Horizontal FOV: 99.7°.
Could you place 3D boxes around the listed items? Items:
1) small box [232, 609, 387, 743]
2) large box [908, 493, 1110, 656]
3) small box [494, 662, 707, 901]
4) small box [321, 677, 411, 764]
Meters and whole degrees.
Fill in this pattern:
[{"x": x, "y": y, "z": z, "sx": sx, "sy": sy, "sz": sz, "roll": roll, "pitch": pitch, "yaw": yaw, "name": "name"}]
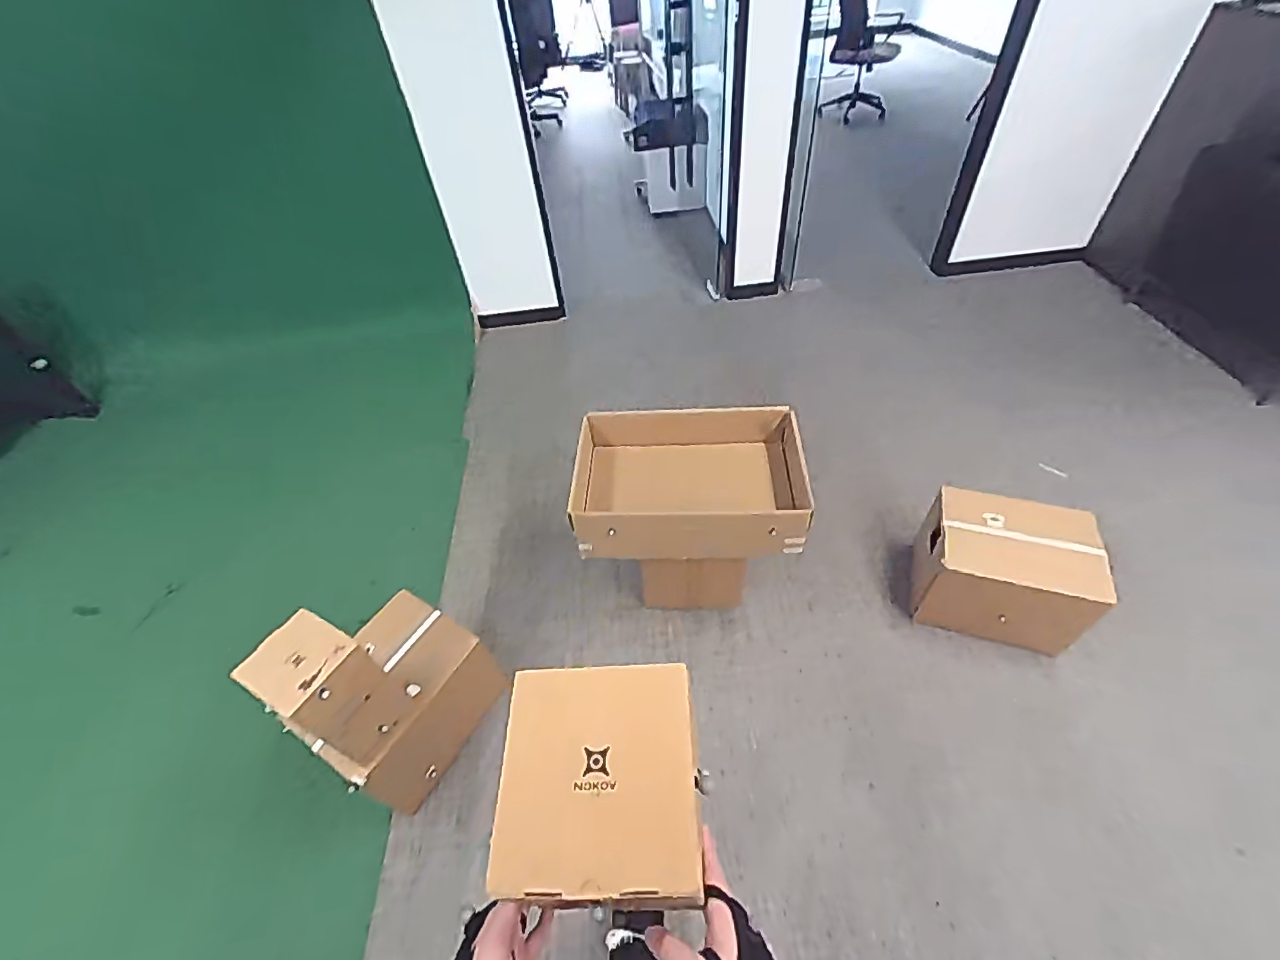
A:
[{"x": -0.658, "y": 0.401, "z": 1.095, "sx": 0.179, "sy": 0.176, "sz": 0.168, "roll": 21, "pitch": 52, "yaw": 22, "name": "small box"}, {"x": 1.059, "y": 0.280, "z": 1.615, "sx": 0.408, "sy": 0.320, "sz": 0.320, "roll": 11, "pitch": 49, "yaw": 16, "name": "large box"}, {"x": -0.025, "y": 0.293, "z": 0.523, "sx": 0.168, "sy": 0.176, "sz": 0.179, "roll": -4, "pitch": 51, "yaw": 4, "name": "small box"}, {"x": -0.659, "y": 0.508, "z": 1.220, "sx": 0.179, "sy": 0.176, "sz": 0.168, "roll": 22, "pitch": 53, "yaw": 21, "name": "small box"}]
